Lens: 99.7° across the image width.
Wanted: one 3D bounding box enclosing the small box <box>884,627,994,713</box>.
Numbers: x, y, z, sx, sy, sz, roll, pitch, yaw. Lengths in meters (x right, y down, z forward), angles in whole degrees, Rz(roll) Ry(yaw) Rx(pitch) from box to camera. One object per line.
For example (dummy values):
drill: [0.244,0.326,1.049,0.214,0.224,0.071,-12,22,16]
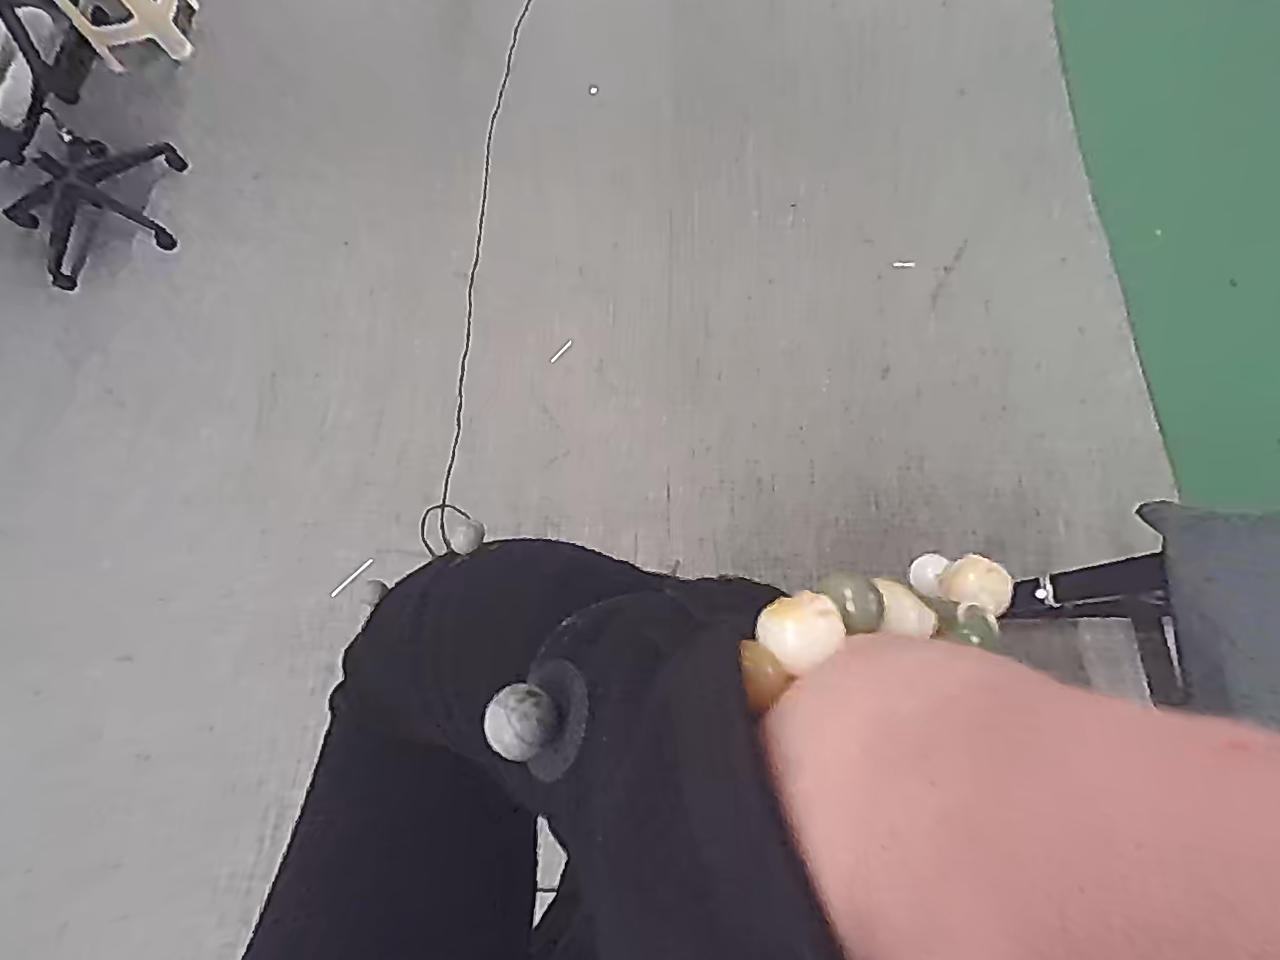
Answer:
small box: [0.679,0.436,1.253,0.179,0.176,0.168,3,73,5]
